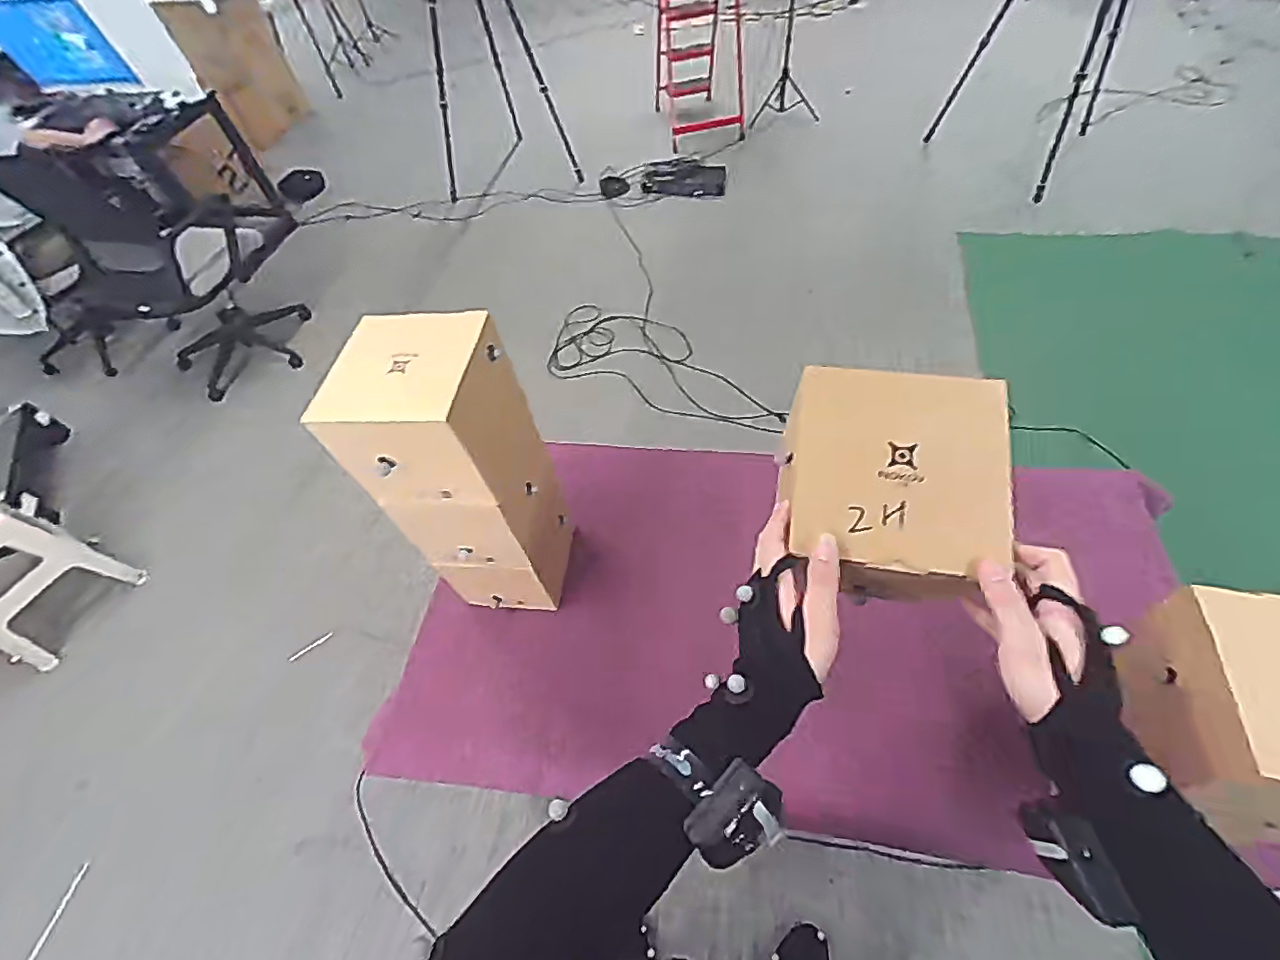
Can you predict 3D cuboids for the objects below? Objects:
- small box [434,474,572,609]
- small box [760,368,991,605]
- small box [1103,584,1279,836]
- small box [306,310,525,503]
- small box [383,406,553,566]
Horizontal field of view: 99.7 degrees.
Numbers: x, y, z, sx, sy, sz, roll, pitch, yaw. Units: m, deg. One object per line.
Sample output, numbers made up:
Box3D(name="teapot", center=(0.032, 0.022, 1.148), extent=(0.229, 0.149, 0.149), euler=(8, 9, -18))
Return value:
Box3D(name="small box", center=(-0.221, 0.104, 0.933), extent=(0.168, 0.176, 0.179), euler=(2, 56, 9))
Box3D(name="small box", center=(0.213, 0.015, 0.526), extent=(0.168, 0.176, 0.179), euler=(8, 73, 10))
Box3D(name="small box", center=(0.605, 0.229, 0.531), extent=(0.168, 0.176, 0.179), euler=(7, 55, 14))
Box3D(name="small box", center=(-0.256, -0.084, 0.669), extent=(0.168, 0.176, 0.179), euler=(1, 55, 9))
Box3D(name="small box", center=(-0.237, 0.009, 0.801), extent=(0.168, 0.176, 0.179), euler=(1, 56, 9))
